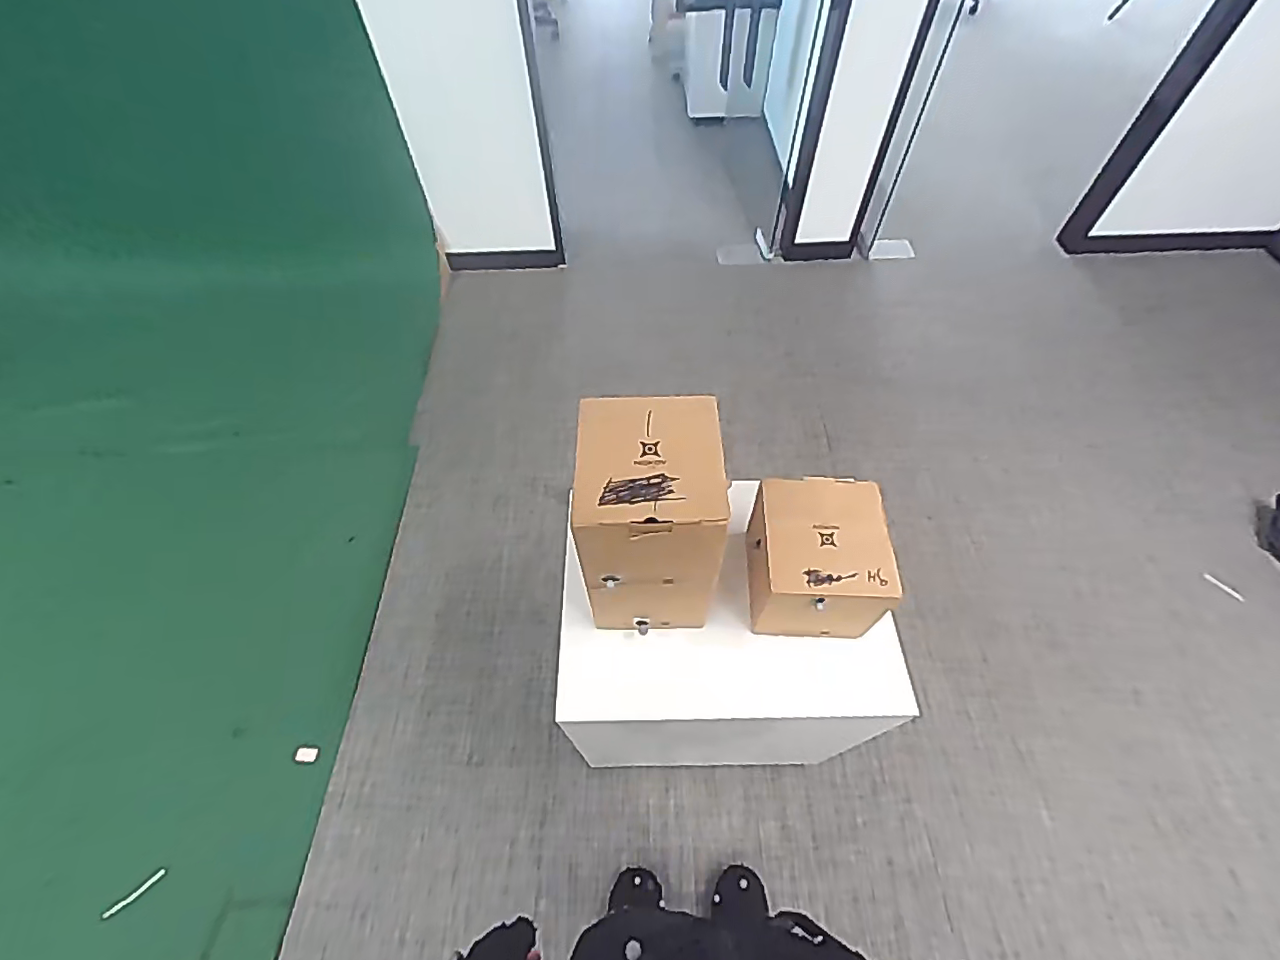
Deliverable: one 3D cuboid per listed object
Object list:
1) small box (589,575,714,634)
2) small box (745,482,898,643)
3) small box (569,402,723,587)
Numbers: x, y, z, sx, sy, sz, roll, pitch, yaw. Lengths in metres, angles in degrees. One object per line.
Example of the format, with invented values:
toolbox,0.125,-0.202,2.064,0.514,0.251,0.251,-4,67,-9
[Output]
small box,0.015,0.117,0.809,0.168,0.176,0.179,-3,57,0
small box,0.251,0.123,0.796,0.168,0.176,0.179,2,56,3
small box,0.010,0.025,0.673,0.168,0.176,0.179,-1,55,1
